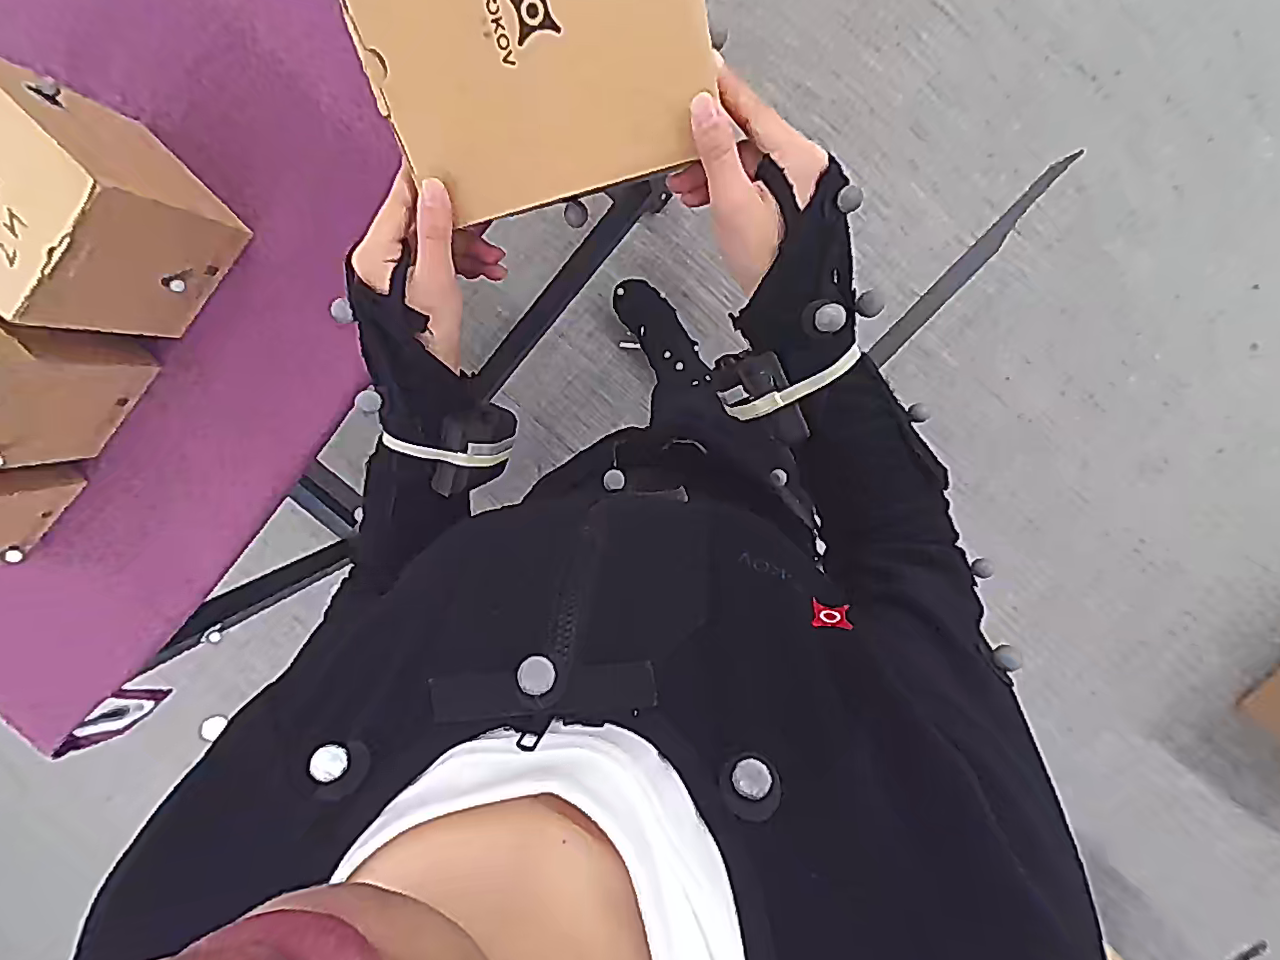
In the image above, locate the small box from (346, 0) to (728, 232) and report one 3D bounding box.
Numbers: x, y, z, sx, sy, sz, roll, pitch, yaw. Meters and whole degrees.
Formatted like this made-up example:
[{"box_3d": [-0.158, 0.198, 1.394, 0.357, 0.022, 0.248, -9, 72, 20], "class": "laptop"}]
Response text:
[{"box_3d": [-0.050, -0.269, 0.334, 0.179, 0.176, 0.168, -10, 118, 10], "class": "small box"}]
